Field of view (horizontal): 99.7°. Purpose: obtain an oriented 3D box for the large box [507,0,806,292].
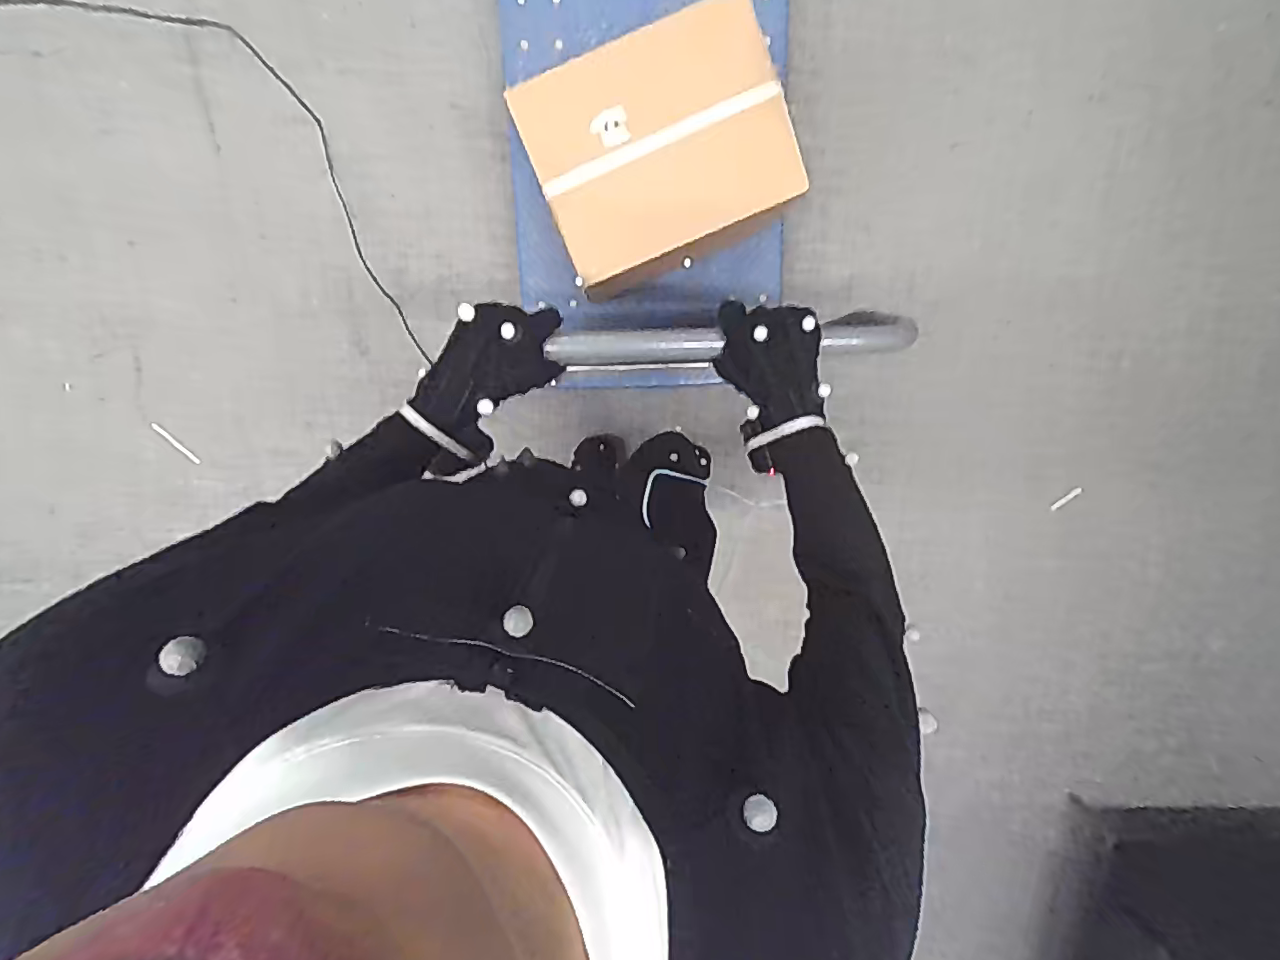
[{"bbox_3d":[0.028,-0.583,0.998,0.408,0.320,0.320,-22,103,4],"label":"large box"}]
